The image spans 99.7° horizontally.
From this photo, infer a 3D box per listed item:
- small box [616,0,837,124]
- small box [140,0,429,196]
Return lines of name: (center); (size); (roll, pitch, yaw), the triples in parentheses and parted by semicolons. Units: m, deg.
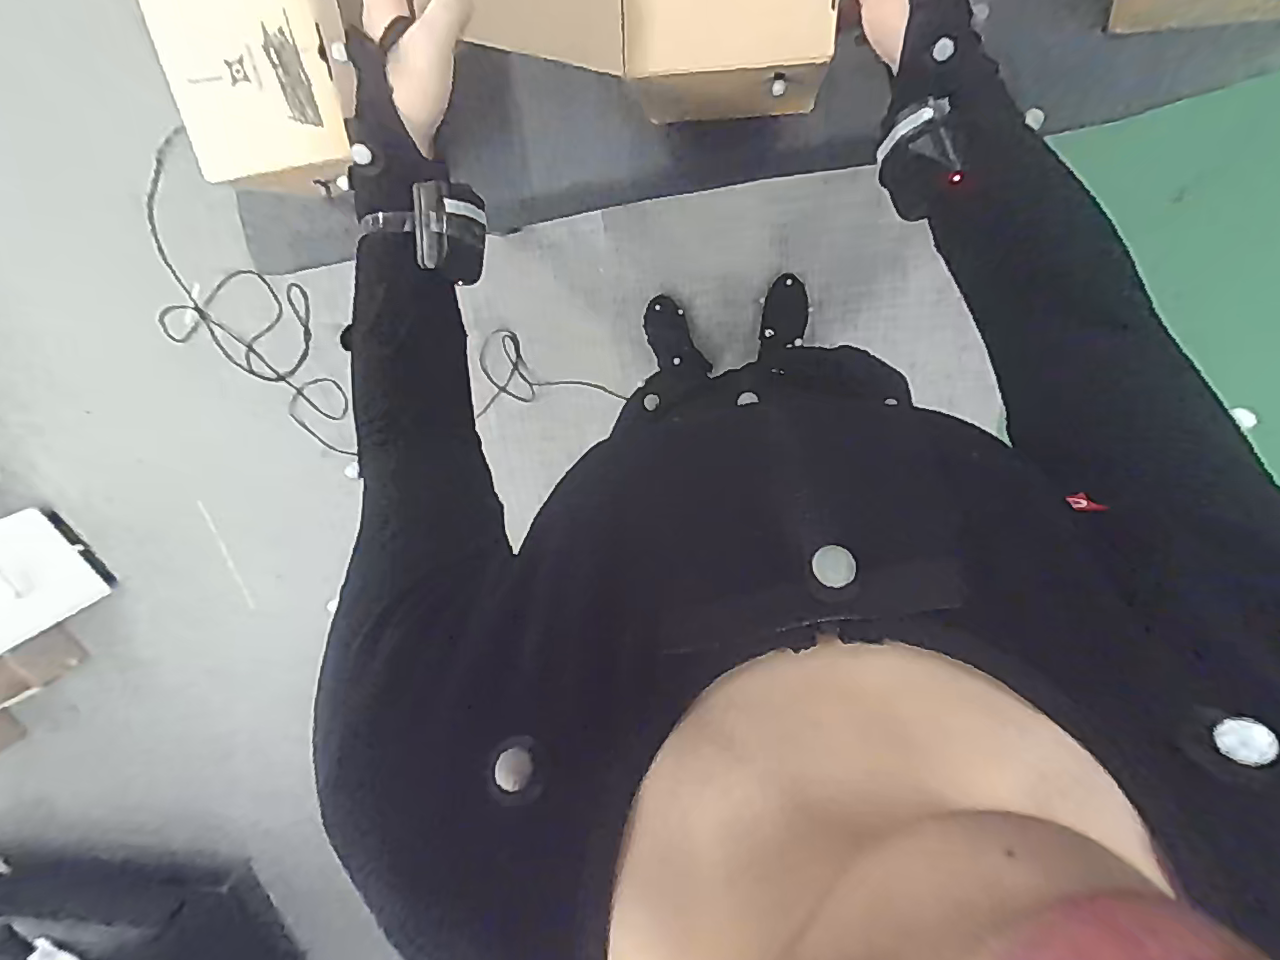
small box: (0.080, -0.438, 0.488); (0.179, 0.176, 0.168); (2, 112, 9)
small box: (-0.350, -0.408, 0.575); (0.179, 0.176, 0.168); (-2, 112, 12)
